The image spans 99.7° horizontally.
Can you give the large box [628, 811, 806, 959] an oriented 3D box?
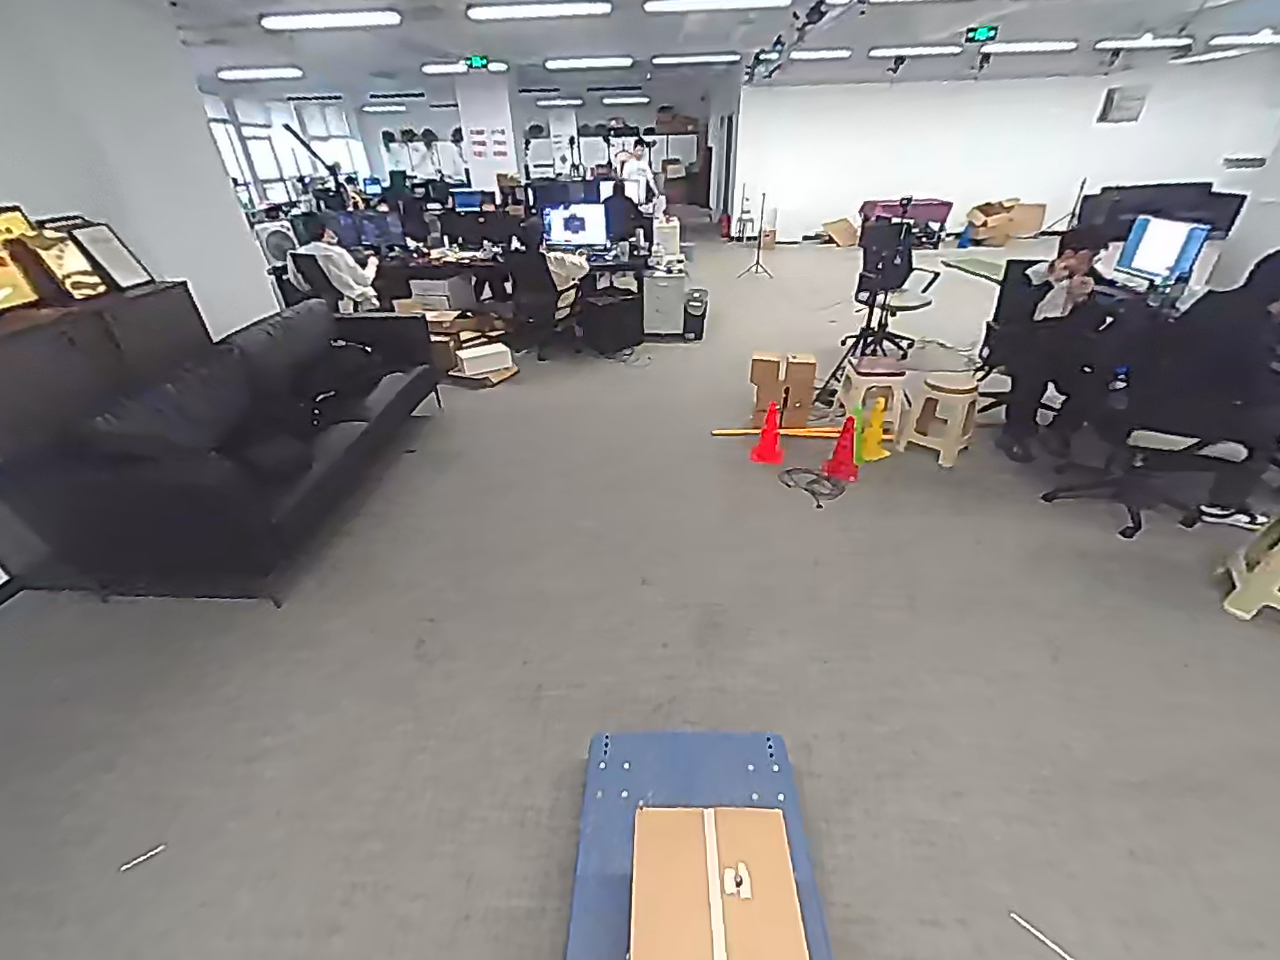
[{"bbox_3d":[0.140,0.937,1.056,0.320,0.320,0.408,0,30,2],"label":"large box"}]
